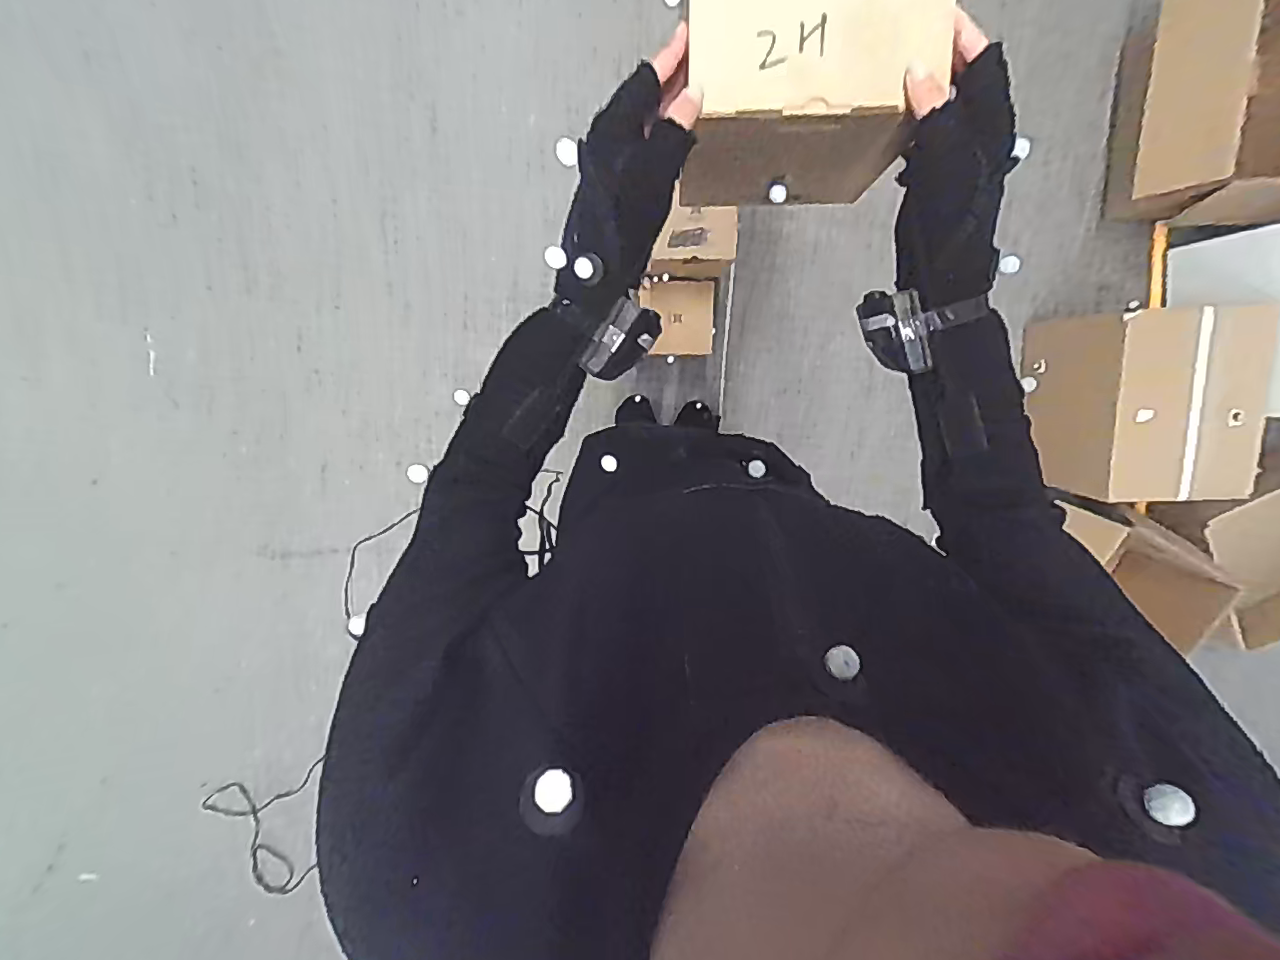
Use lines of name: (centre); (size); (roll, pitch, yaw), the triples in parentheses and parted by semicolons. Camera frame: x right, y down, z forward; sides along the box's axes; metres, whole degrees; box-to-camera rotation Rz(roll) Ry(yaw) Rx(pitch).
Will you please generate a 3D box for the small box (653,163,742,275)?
small box: (0.113, -0.532, 1.124); (0.168, 0.176, 0.179); (1, 99, 0)
